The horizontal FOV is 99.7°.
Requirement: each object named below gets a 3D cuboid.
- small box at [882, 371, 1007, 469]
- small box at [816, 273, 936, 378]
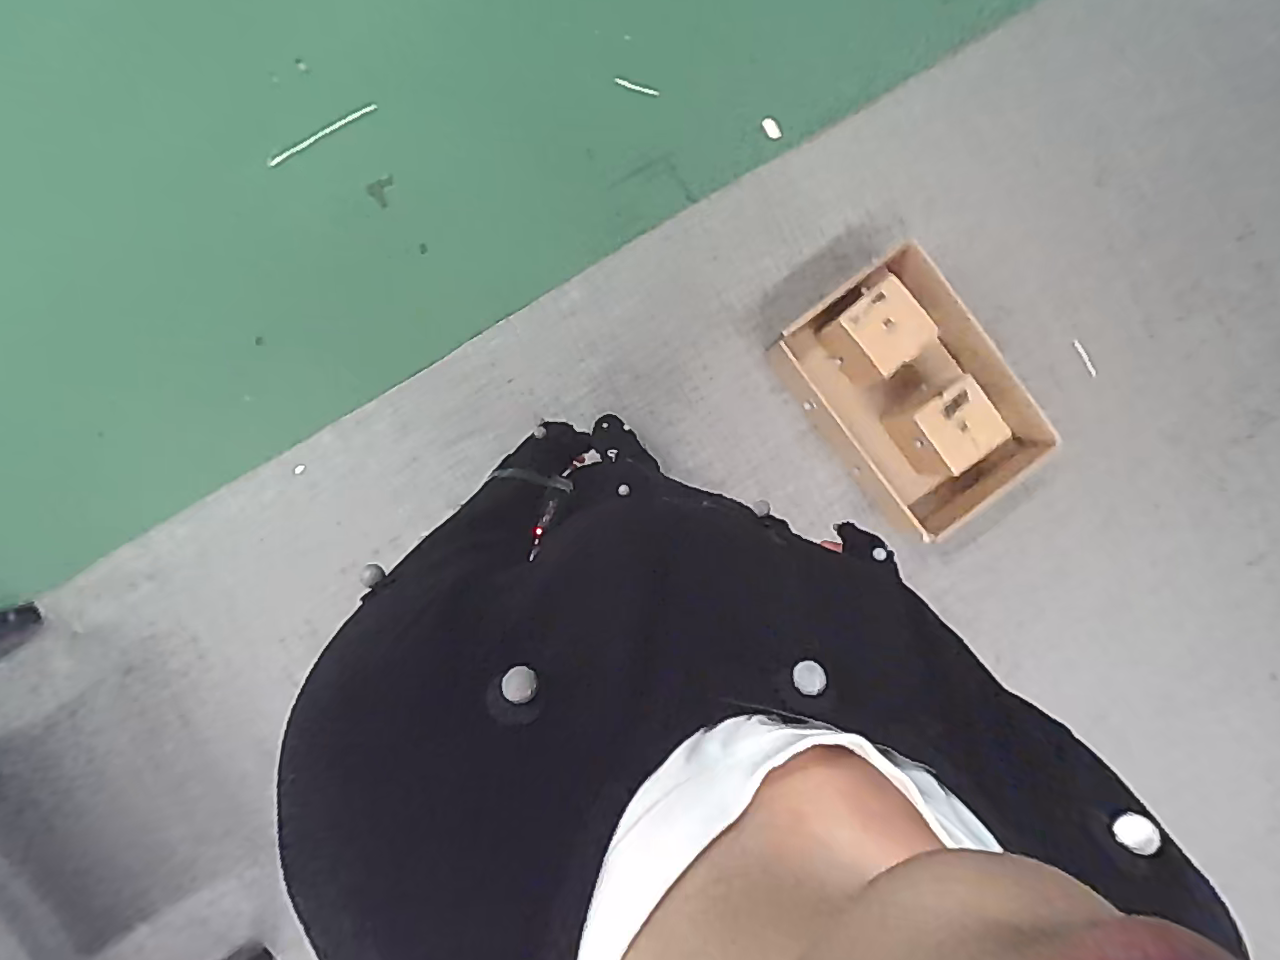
[{"bbox_3d":[0.736,-0.140,1.331,0.168,0.176,0.179,-36,92,1],"label":"small box"},{"bbox_3d":[0.566,-0.364,1.320,0.168,0.176,0.179,-40,94,0],"label":"small box"}]
